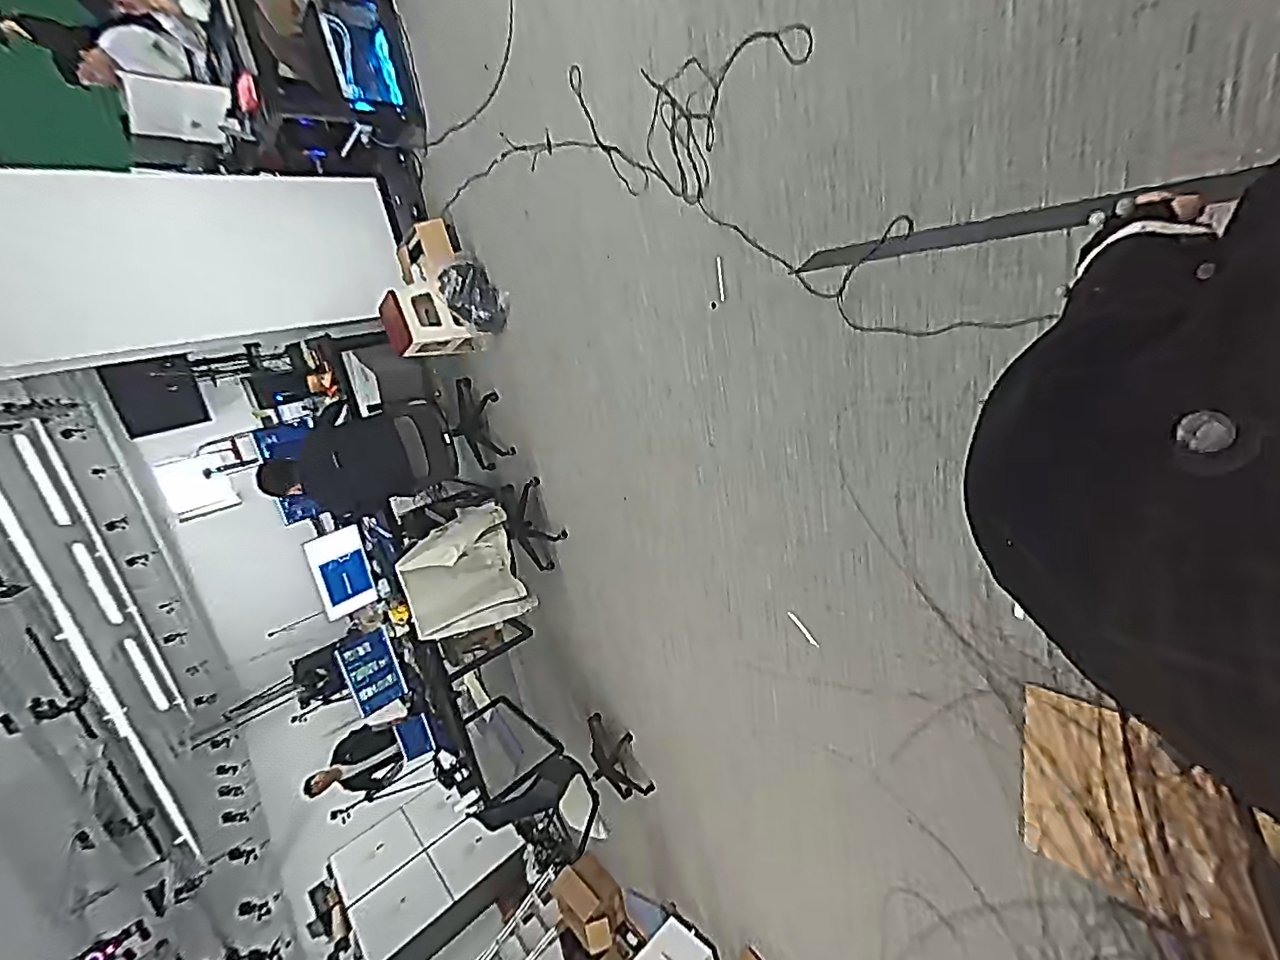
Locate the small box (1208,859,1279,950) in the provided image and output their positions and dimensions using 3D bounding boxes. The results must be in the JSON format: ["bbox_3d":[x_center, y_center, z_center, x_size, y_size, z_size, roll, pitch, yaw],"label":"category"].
[{"bbox_3d":[1.253,0.919,1.073,0.168,0.176,0.179,3,112,50],"label":"small box"}]

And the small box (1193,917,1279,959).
[{"bbox_3d":[1.125,0.971,0.983,0.168,0.176,0.179,4,111,51],"label":"small box"}]

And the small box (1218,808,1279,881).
[{"bbox_3d":[1.373,0.863,1.169,0.168,0.176,0.179,5,113,50],"label":"small box"}]
